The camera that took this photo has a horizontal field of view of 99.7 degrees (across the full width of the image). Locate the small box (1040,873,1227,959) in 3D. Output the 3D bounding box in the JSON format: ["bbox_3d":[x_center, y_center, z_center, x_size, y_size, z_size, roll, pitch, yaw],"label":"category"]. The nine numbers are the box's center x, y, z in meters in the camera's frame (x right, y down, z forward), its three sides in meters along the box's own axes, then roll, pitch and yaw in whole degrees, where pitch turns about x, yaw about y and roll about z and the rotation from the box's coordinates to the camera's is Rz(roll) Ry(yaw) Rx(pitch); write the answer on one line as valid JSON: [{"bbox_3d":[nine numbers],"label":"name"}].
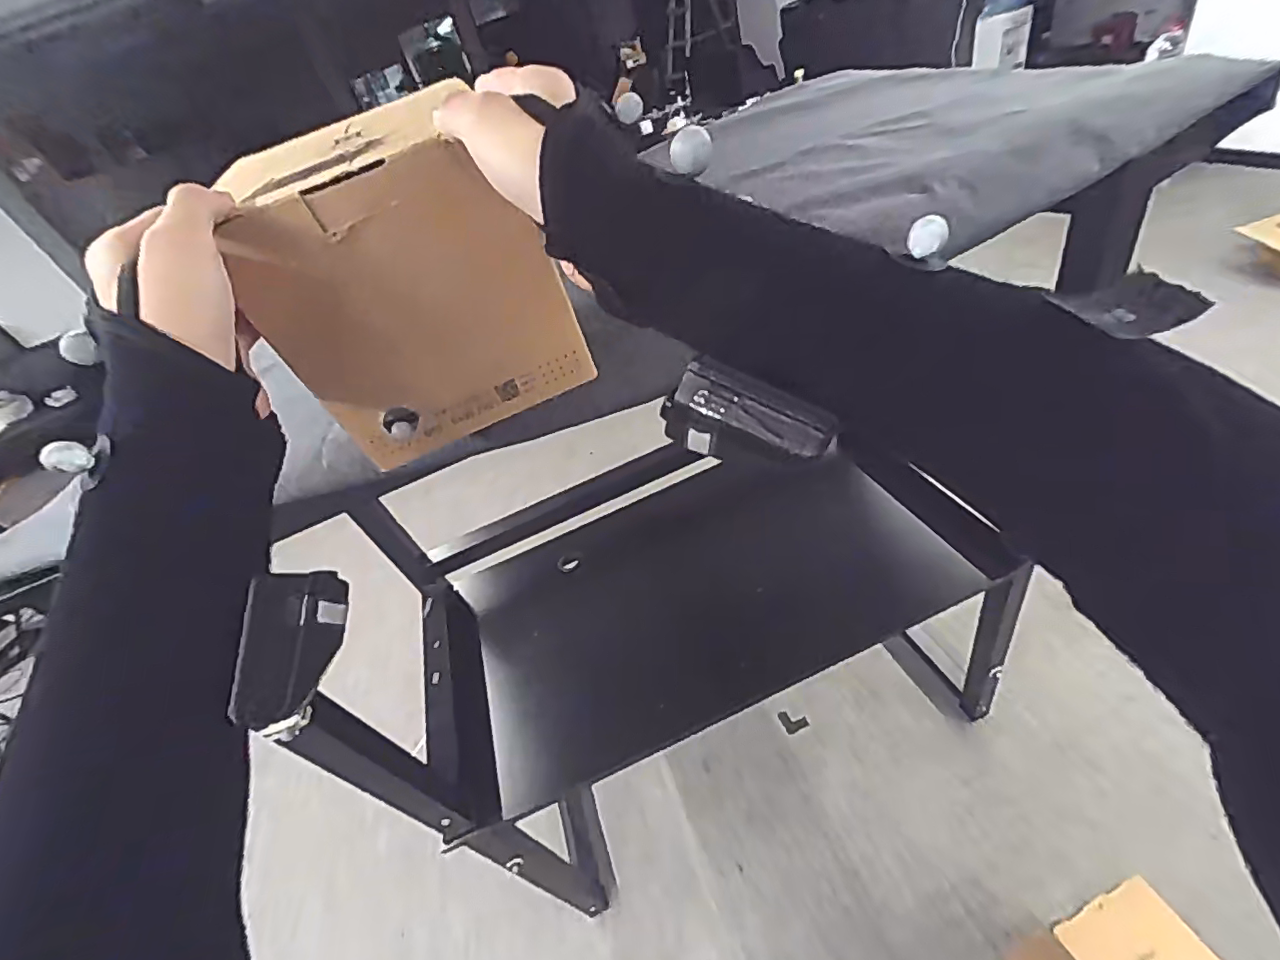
[{"bbox_3d":[0.750,0.739,0.807,0.168,0.176,0.179,-27,41,-6],"label":"small box"}]

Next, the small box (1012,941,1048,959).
[{"bbox_3d":[0.837,0.969,1.023,0.179,0.176,0.168,-27,40,-5],"label":"small box"}]

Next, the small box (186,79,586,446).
[{"bbox_3d":[-0.154,-0.145,0.380,0.168,0.176,0.179,-25,44,-4],"label":"small box"}]
